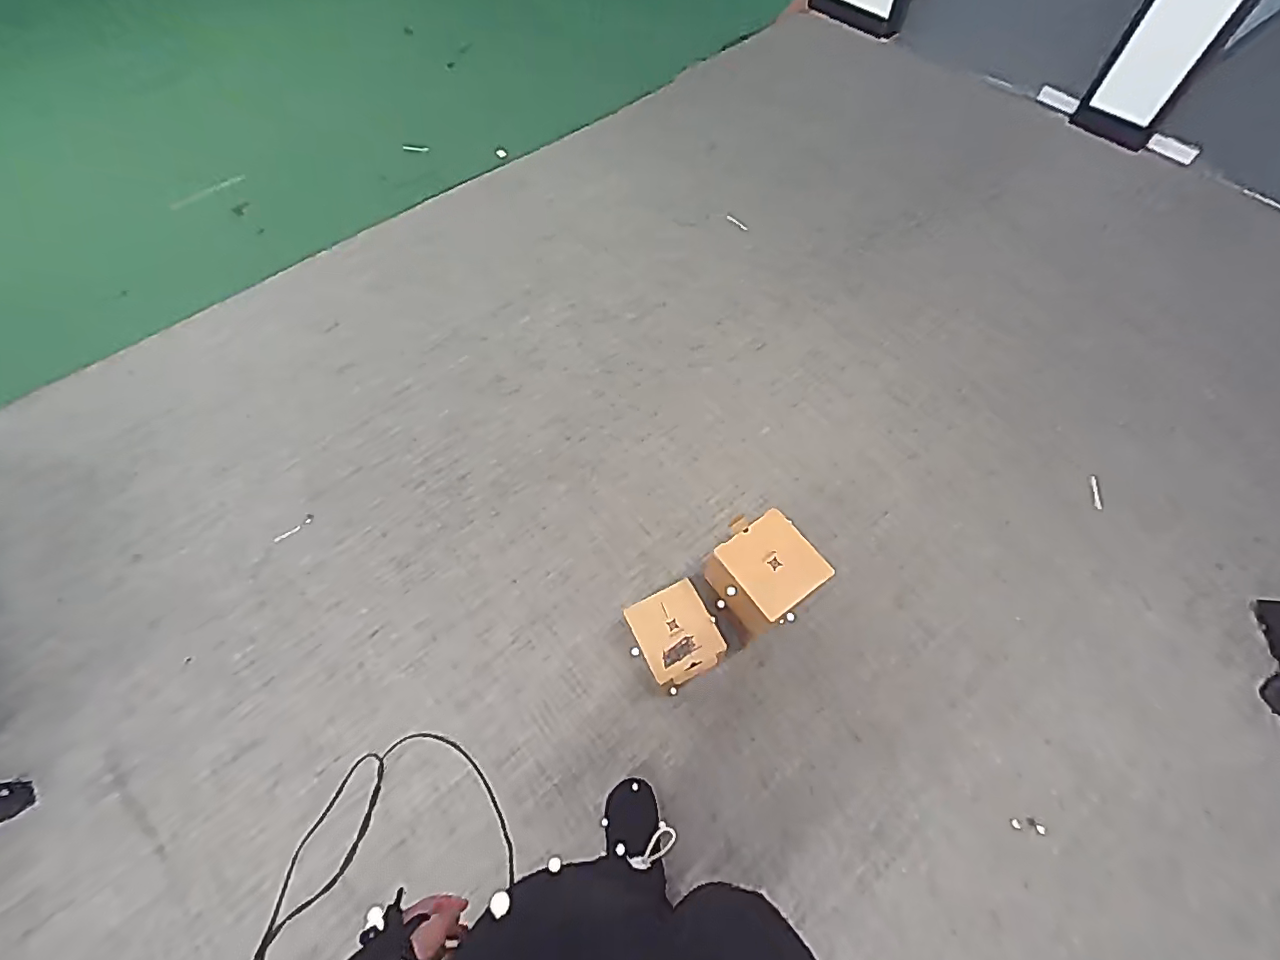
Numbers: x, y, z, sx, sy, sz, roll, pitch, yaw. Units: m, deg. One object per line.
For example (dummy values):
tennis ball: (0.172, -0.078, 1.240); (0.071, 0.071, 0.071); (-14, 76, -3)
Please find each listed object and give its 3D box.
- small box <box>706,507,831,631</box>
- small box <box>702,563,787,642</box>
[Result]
small box: (0.254, 0.191, 1.110); (0.168, 0.176, 0.179); (-33, 66, -14)
small box: (0.260, 0.251, 1.263); (0.168, 0.176, 0.179); (-33, 65, -15)
